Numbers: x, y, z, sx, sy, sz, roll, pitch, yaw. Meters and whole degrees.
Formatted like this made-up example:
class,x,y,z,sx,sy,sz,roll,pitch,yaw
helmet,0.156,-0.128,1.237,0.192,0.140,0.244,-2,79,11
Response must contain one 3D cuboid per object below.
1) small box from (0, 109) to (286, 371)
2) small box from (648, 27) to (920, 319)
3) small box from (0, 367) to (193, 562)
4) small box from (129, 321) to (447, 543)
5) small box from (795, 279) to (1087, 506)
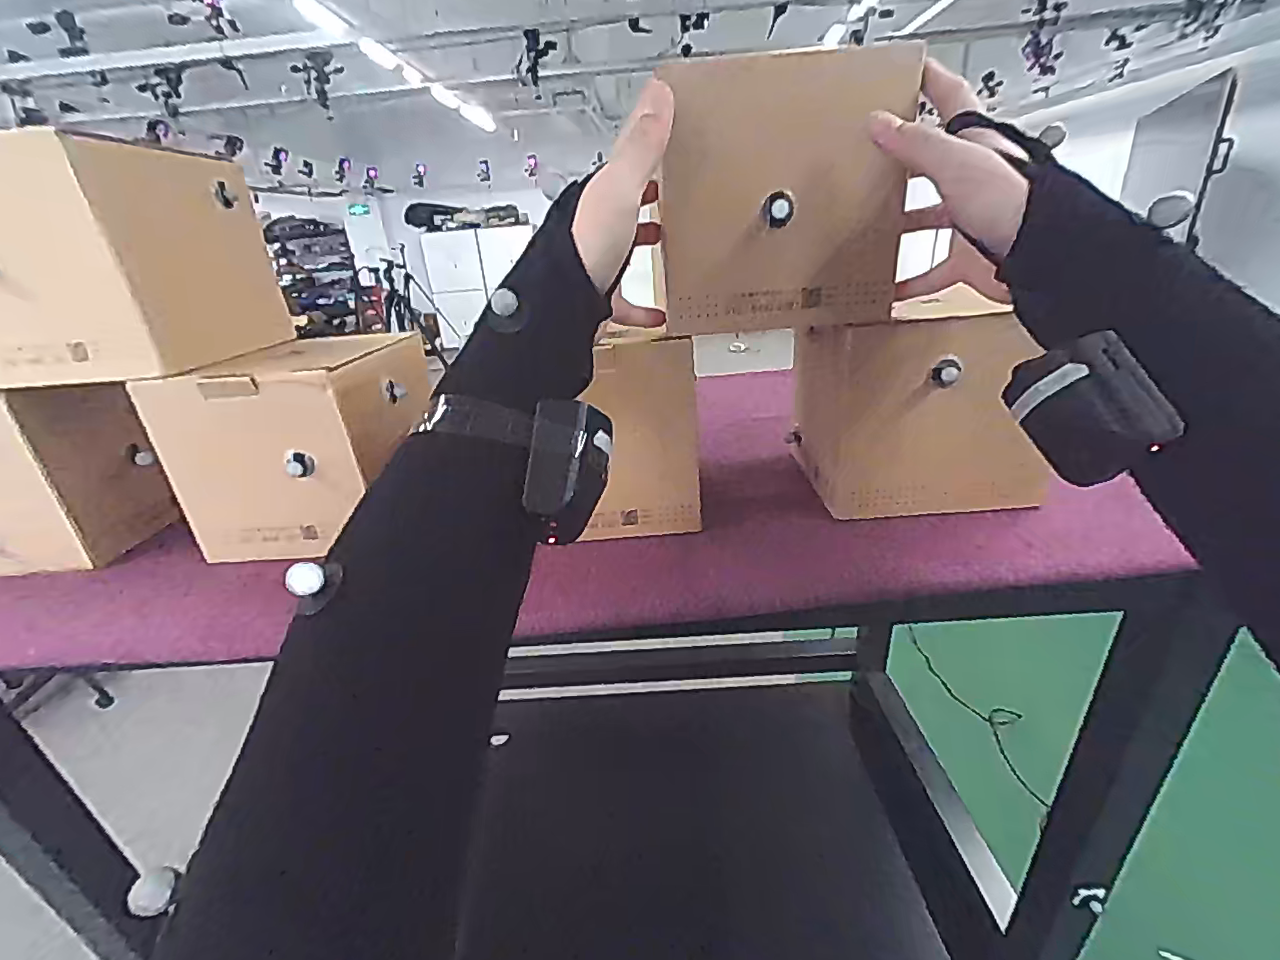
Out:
class,x,y,z,sx,sy,sz,roll,pitch,yaw
small box,-0.445,-0.190,0.459,0.168,0.176,0.179,-4,24,2
small box,0.095,-0.226,0.436,0.168,0.176,0.179,-4,24,0
small box,-0.576,-0.031,0.522,0.179,0.176,0.168,-4,24,-1
small box,-0.304,-0.049,0.517,0.168,0.176,0.179,-2,24,4
small box,0.247,-0.084,0.496,0.179,0.176,0.168,-4,25,3
